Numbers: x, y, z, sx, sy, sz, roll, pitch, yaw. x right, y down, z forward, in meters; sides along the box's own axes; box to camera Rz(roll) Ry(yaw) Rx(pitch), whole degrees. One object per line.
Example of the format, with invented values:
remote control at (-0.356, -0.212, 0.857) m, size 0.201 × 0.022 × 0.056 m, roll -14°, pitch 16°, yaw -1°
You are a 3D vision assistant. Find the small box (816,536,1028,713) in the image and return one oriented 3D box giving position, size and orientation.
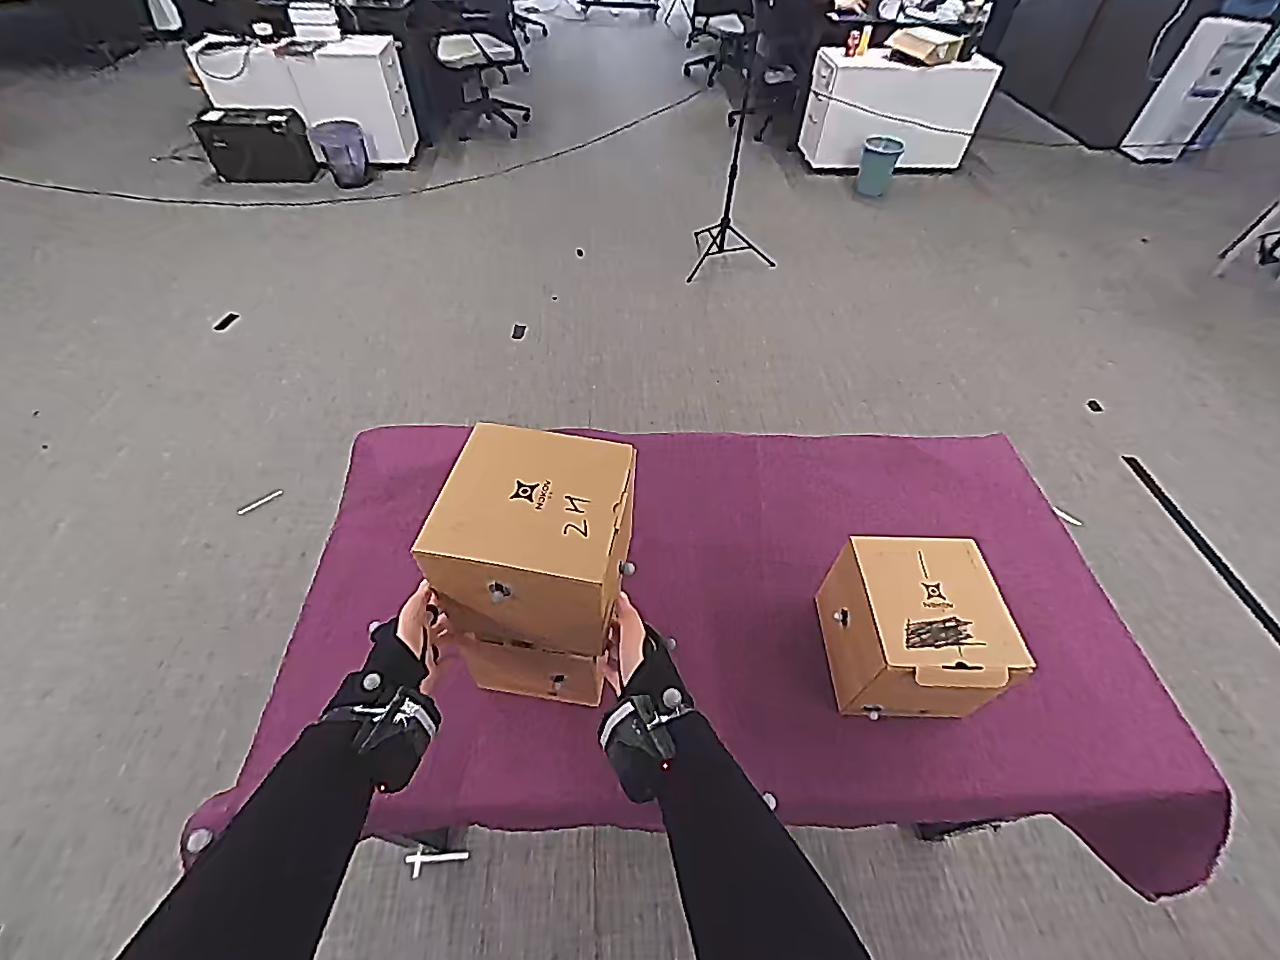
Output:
small box at (0.346, 0.193, 0.707) m, size 0.168 × 0.176 × 0.179 m, roll 2°, pitch 50°, yaw -1°

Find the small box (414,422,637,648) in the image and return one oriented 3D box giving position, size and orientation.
small box at (-0.106, 0.064, 0.583) m, size 0.179 × 0.176 × 0.168 m, roll 10°, pitch 52°, yaw 4°

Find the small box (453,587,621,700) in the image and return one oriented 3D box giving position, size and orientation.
small box at (-0.118, 0.169, 0.709) m, size 0.168 × 0.176 × 0.179 m, roll 9°, pitch 51°, yaw 4°
